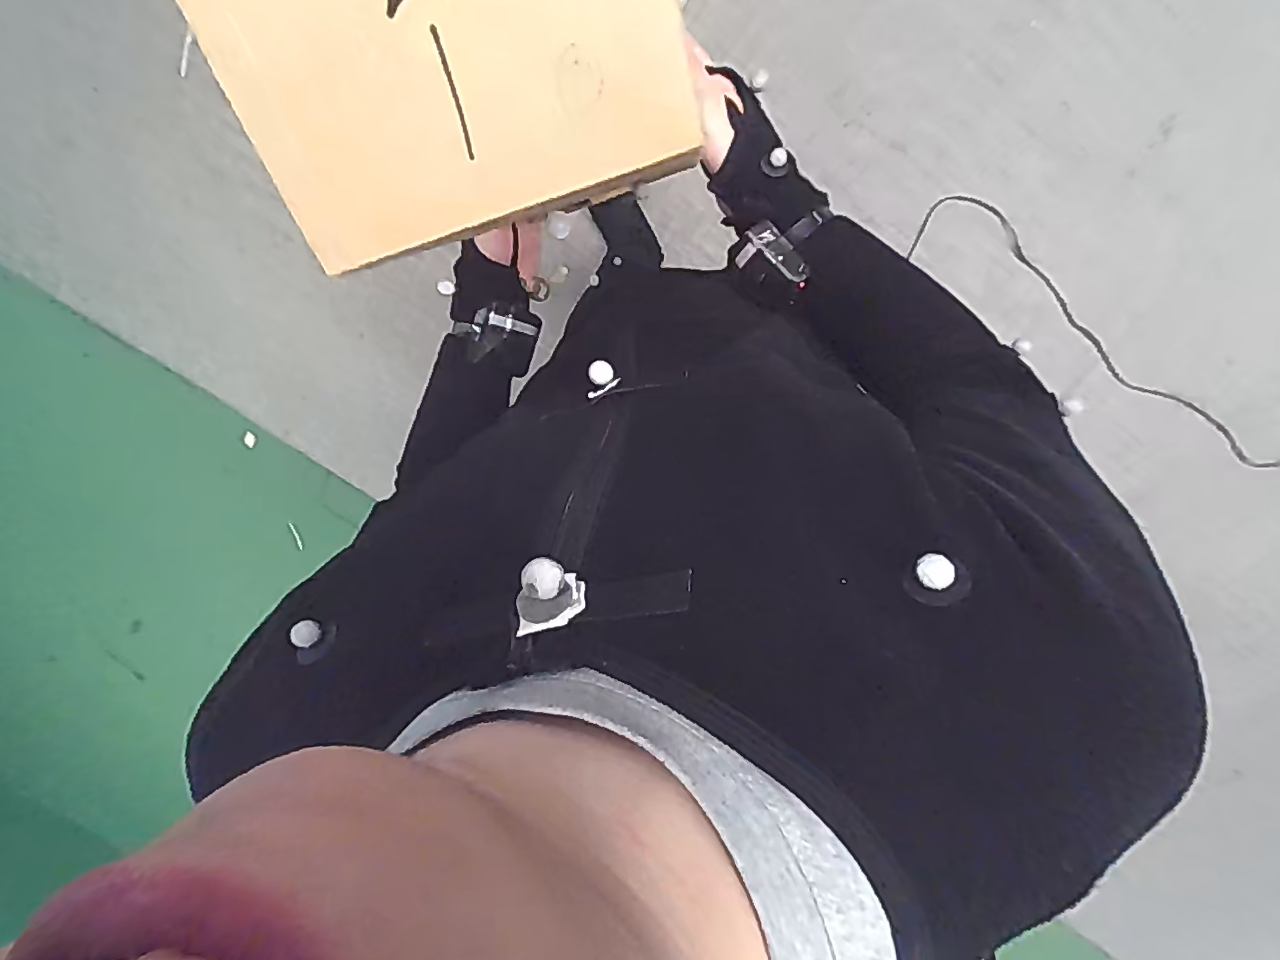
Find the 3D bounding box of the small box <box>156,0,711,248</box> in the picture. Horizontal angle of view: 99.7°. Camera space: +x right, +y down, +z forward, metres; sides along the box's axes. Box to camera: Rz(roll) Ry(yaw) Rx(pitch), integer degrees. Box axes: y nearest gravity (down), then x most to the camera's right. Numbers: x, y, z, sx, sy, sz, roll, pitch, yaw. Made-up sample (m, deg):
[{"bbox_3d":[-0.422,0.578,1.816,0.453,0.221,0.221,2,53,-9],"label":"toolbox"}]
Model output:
[{"bbox_3d":[-0.071,-0.214,0.223,0.168,0.176,0.179,-12,118,12],"label":"small box"}]
